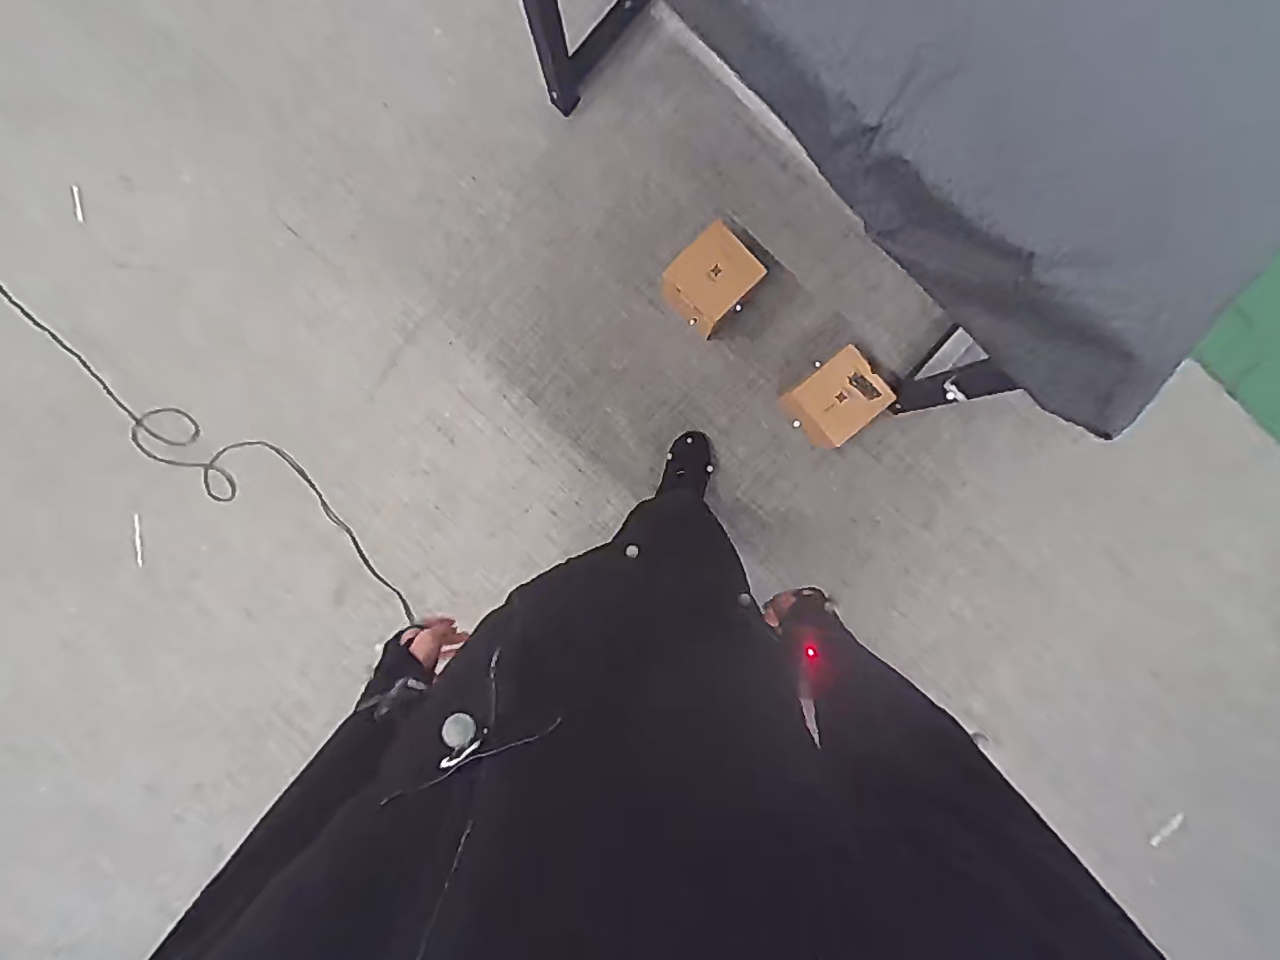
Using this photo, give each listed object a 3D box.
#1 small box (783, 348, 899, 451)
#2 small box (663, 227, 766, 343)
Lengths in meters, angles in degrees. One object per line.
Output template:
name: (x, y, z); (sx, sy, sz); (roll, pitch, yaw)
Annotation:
small box: (0.468, -0.185, 1.291); (0.179, 0.176, 0.168); (-41, 89, 4)
small box: (0.173, -0.458, 1.302); (0.168, 0.176, 0.179); (45, 91, -1)
